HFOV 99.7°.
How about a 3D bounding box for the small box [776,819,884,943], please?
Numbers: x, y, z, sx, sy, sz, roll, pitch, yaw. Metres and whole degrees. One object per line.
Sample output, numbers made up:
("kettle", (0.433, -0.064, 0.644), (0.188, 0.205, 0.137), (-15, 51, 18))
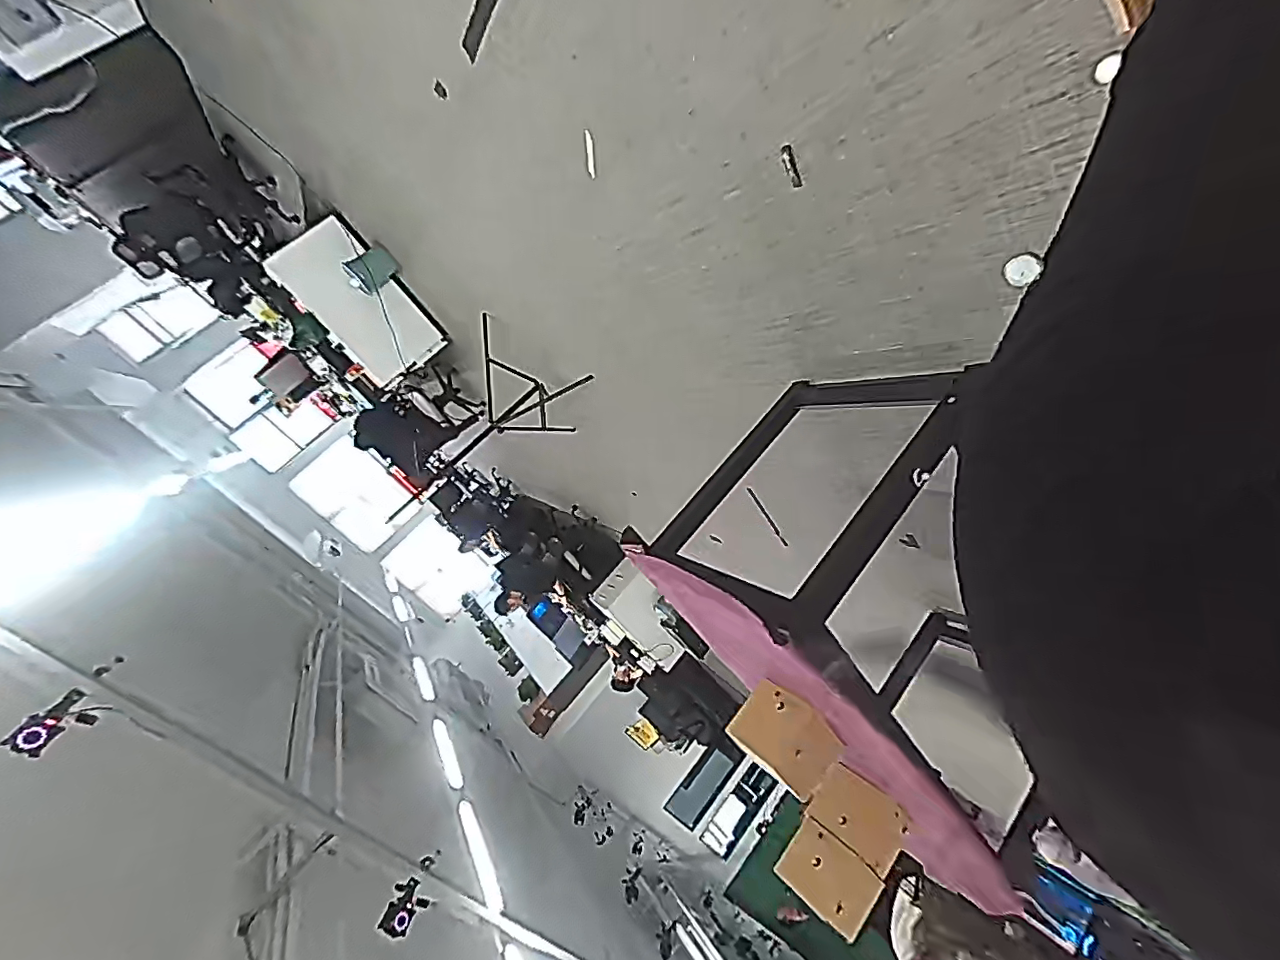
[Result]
("small box", (0.498, 1.037, 1.414), (0.179, 0.176, 0.168), (51, 162, -23))

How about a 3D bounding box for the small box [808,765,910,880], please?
("small box", (0.601, 0.919, 1.468), (0.168, 0.176, 0.179), (51, 162, -24))
